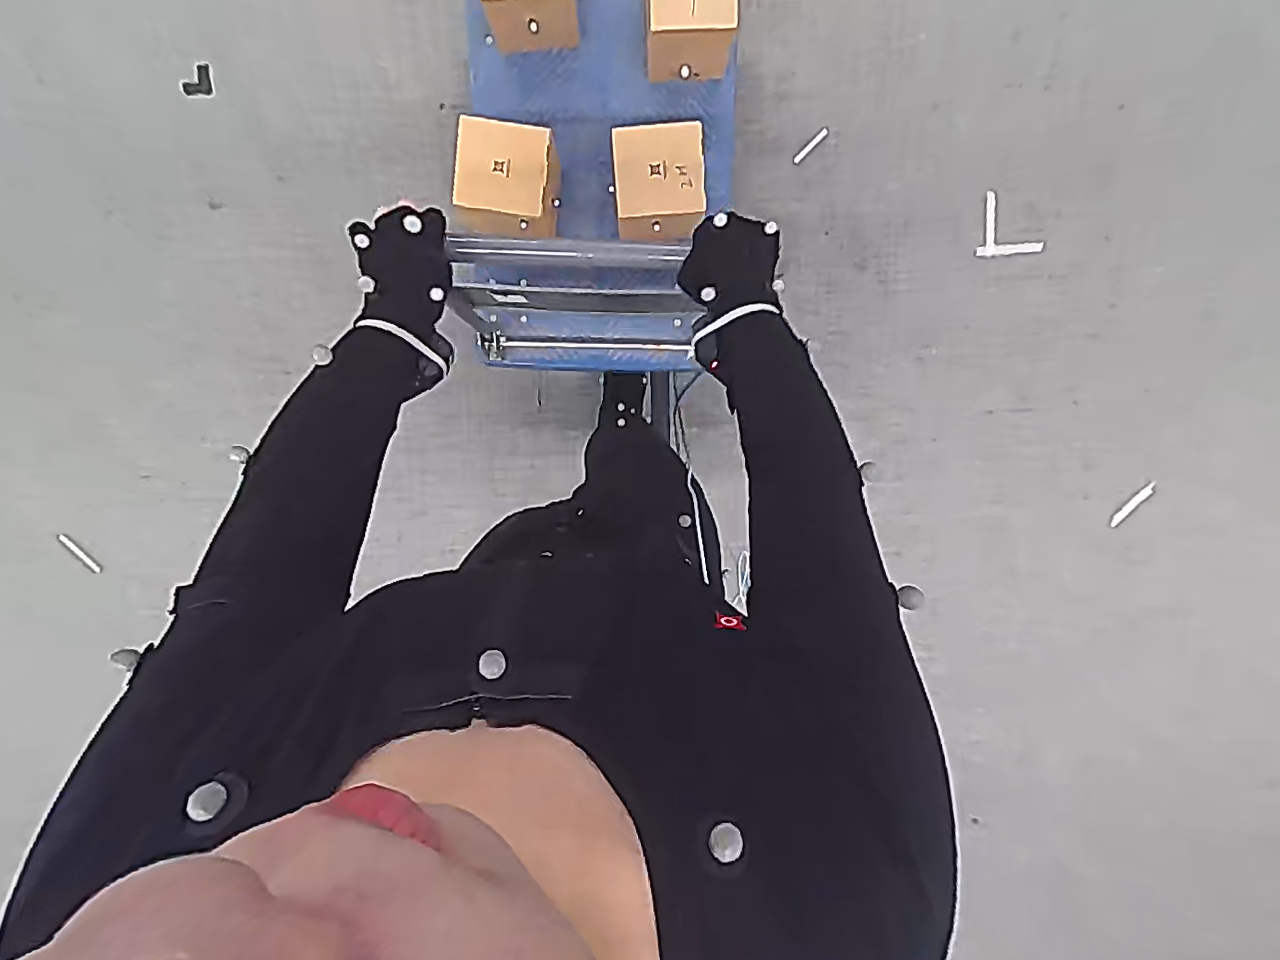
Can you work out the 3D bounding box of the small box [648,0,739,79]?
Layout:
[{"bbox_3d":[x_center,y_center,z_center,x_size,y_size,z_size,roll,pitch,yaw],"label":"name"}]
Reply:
[{"bbox_3d":[0.101,-0.947,1.083,0.168,0.176,0.179,-1,99,0],"label":"small box"}]

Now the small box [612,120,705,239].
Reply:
[{"bbox_3d":[0.038,-0.616,1.127,0.179,0.176,0.168,-4,98,0],"label":"small box"}]

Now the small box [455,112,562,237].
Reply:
[{"bbox_3d":[-0.266,-0.623,1.124,0.179,0.176,0.168,7,97,-3],"label":"small box"}]
